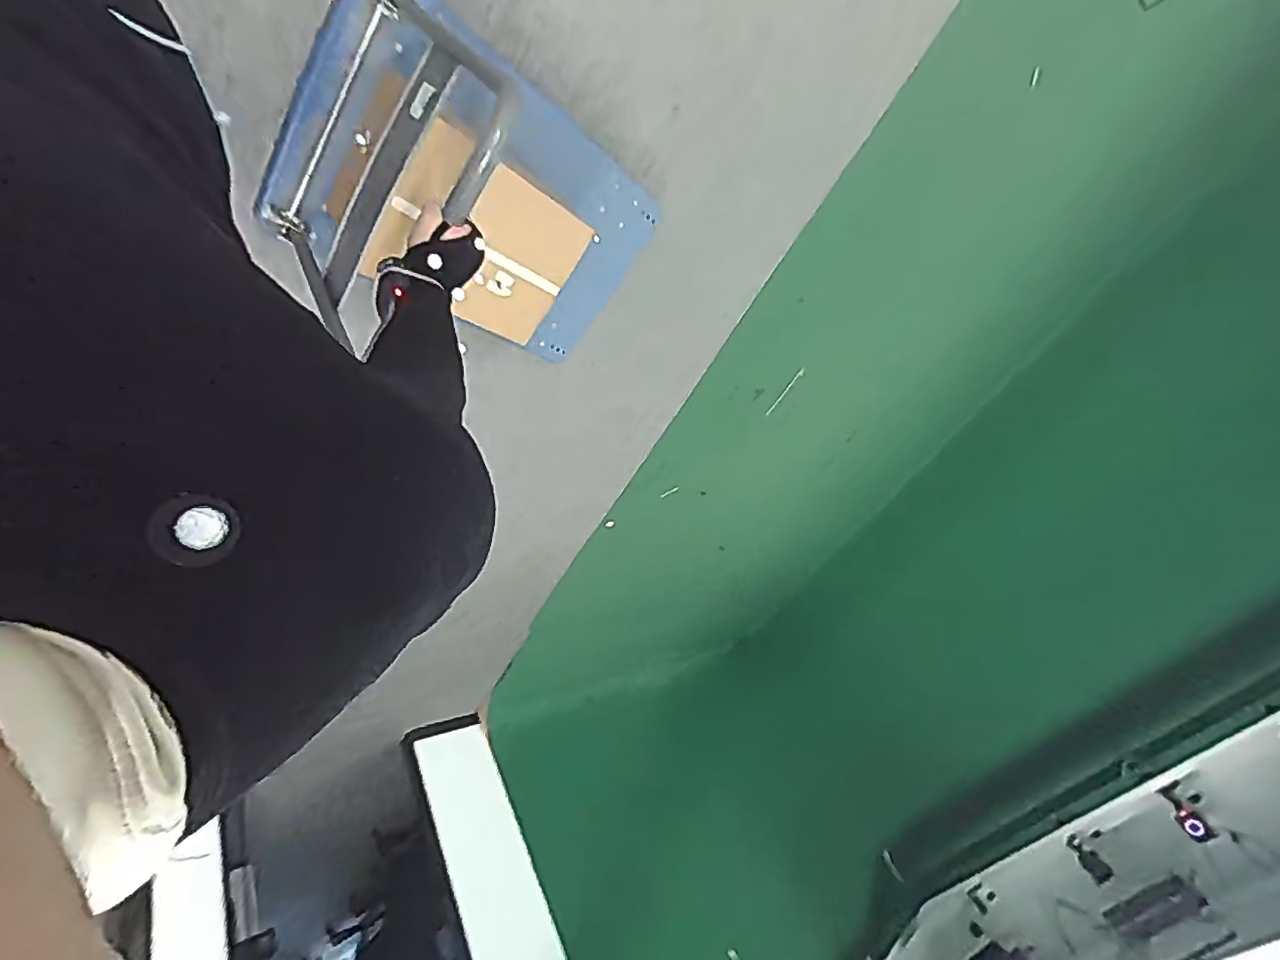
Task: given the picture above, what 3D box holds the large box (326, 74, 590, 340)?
[{"bbox_3d":[-0.398,-0.572,1.180,0.408,0.320,0.320,13,123,-49],"label":"large box"}]
